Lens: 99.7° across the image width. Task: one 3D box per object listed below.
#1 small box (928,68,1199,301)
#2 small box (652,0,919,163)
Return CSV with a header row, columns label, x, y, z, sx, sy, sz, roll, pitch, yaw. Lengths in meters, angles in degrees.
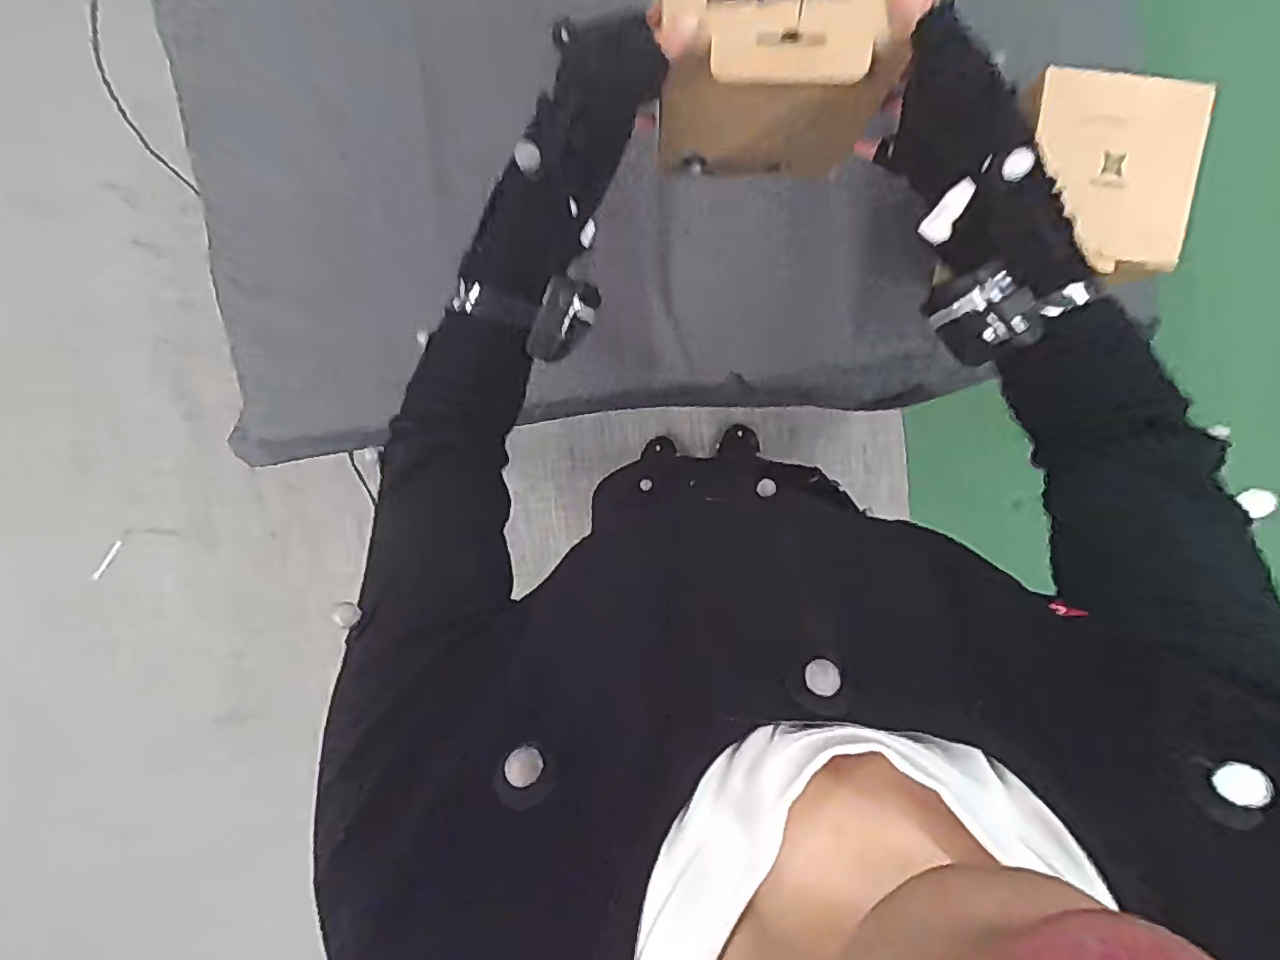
label,x,y,z,sx,sy,sz,roll,pitch,yaw
small box,0.456,-0.315,0.614,0.168,0.176,0.179,6,94,0
small box,0.094,-0.367,0.410,0.168,0.176,0.179,1,93,1
